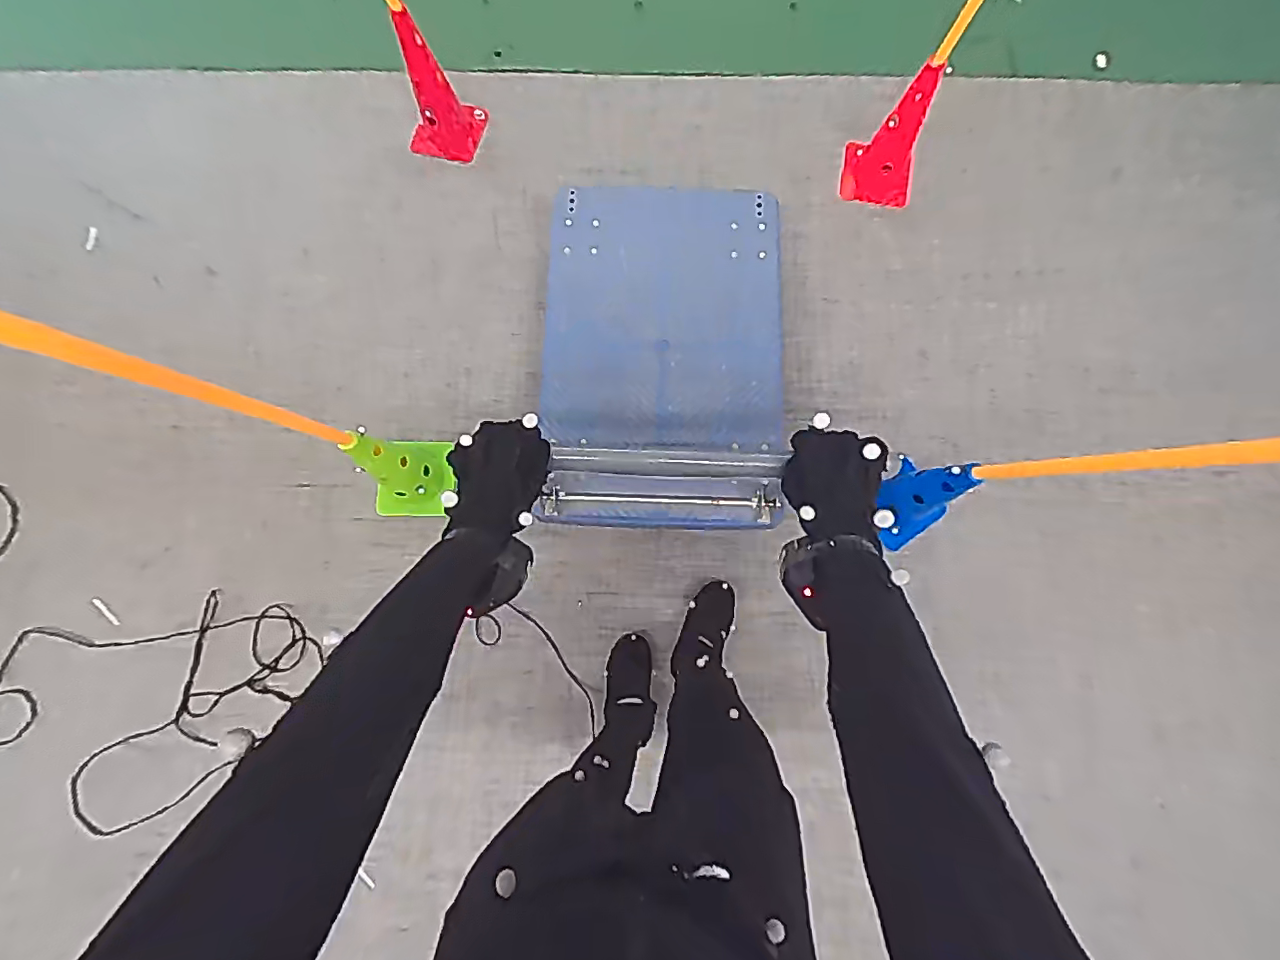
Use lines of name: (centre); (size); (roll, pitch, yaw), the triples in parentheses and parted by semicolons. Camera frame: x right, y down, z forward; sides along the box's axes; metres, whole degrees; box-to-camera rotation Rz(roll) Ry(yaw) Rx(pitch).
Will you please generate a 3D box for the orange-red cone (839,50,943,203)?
orange-red cone: (0.689, -0.943, 1.421); (0.198, 0.360, 0.199); (12, 79, 4)
